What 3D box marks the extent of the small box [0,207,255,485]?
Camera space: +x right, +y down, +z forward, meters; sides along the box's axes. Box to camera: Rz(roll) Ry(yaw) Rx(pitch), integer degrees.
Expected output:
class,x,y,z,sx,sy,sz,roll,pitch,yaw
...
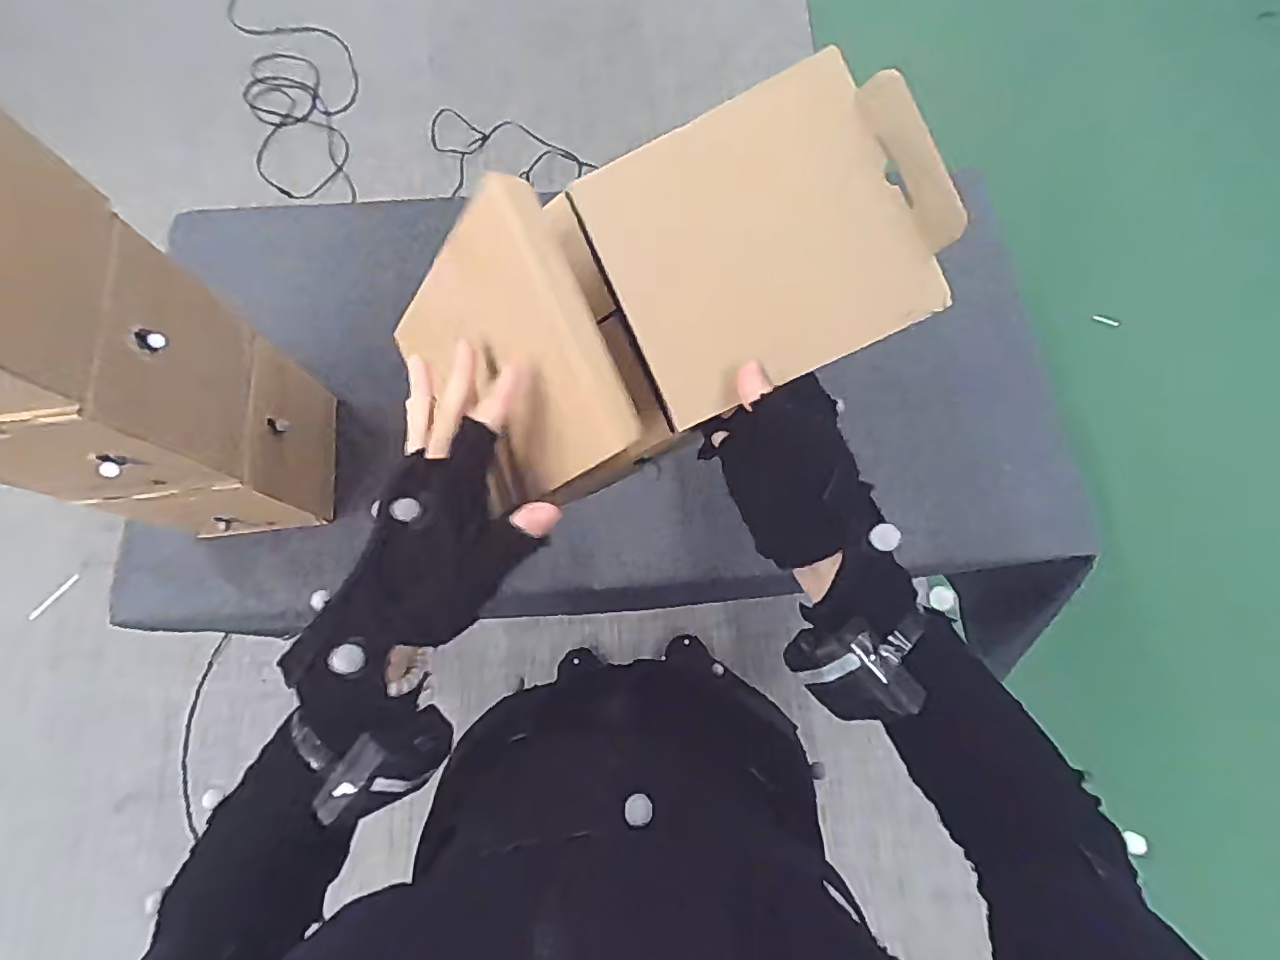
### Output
class,x,y,z,sx,sy,sz,roll,pitch,yaw
small box,-0.474,-0.099,0.470,0.168,0.176,0.179,-6,74,-3

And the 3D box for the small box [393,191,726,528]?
class,x,y,z,sx,sy,sz,roll,pitch,yaw
small box,-0.046,-0.083,0.429,0.179,0.176,0.168,-25,88,26

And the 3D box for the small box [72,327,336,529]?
class,x,y,z,sx,sy,sz,roll,pitch,yaw
small box,-0.477,-0.051,0.625,0.168,0.176,0.179,-6,74,-3

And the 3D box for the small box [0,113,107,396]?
class,x,y,z,sx,sy,sz,roll,pitch,yaw
small box,-0.473,-0.152,0.314,0.168,0.176,0.179,-7,74,-4
